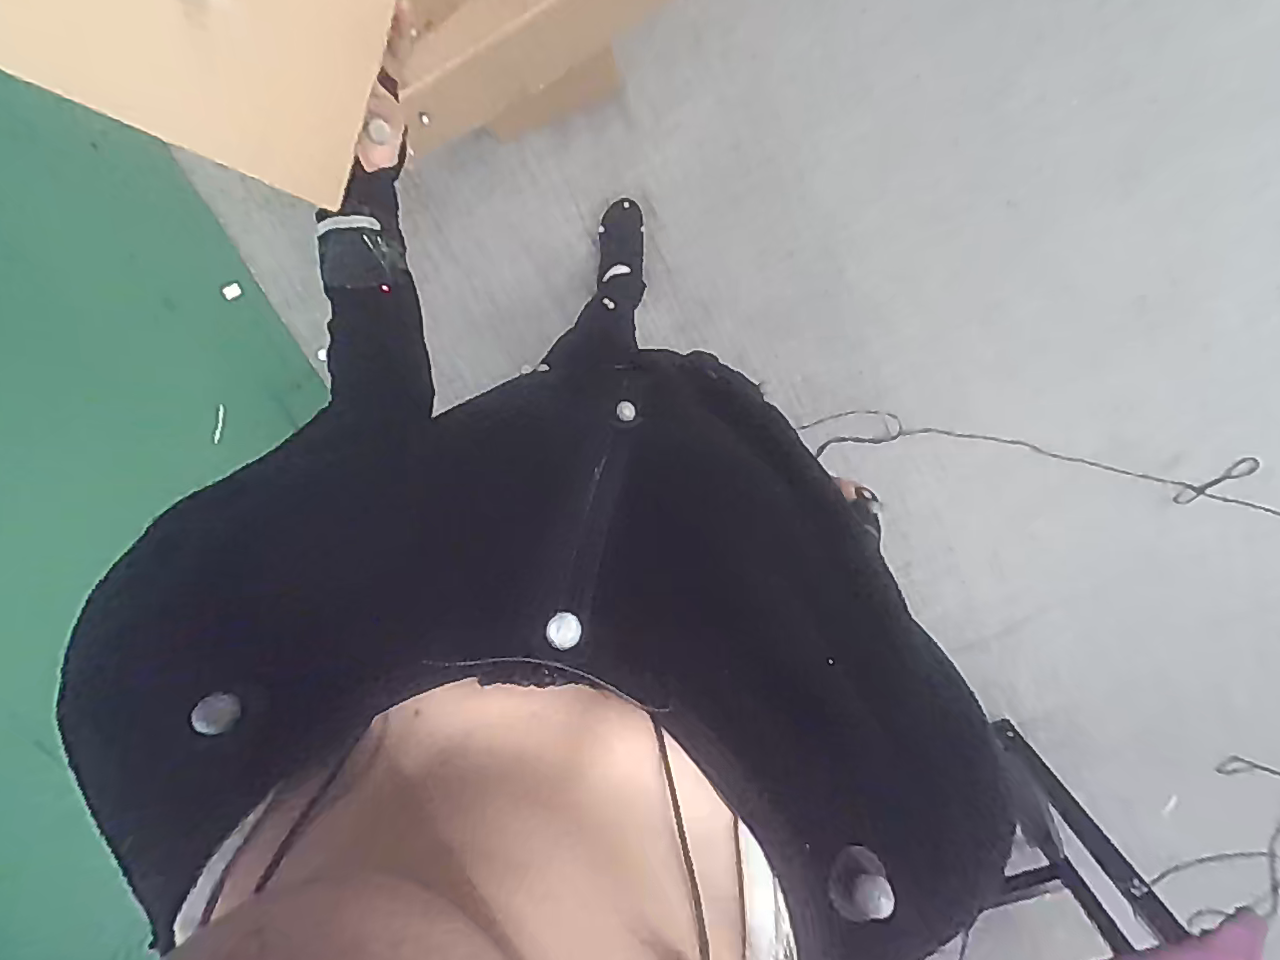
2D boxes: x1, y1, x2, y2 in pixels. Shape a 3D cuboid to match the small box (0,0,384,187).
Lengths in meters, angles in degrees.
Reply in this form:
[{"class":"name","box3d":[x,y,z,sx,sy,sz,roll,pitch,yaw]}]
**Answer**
[{"class":"small box","box3d":[-0.222,-0.300,0.273,0.168,0.179,0.176,14,134,-37]}]
